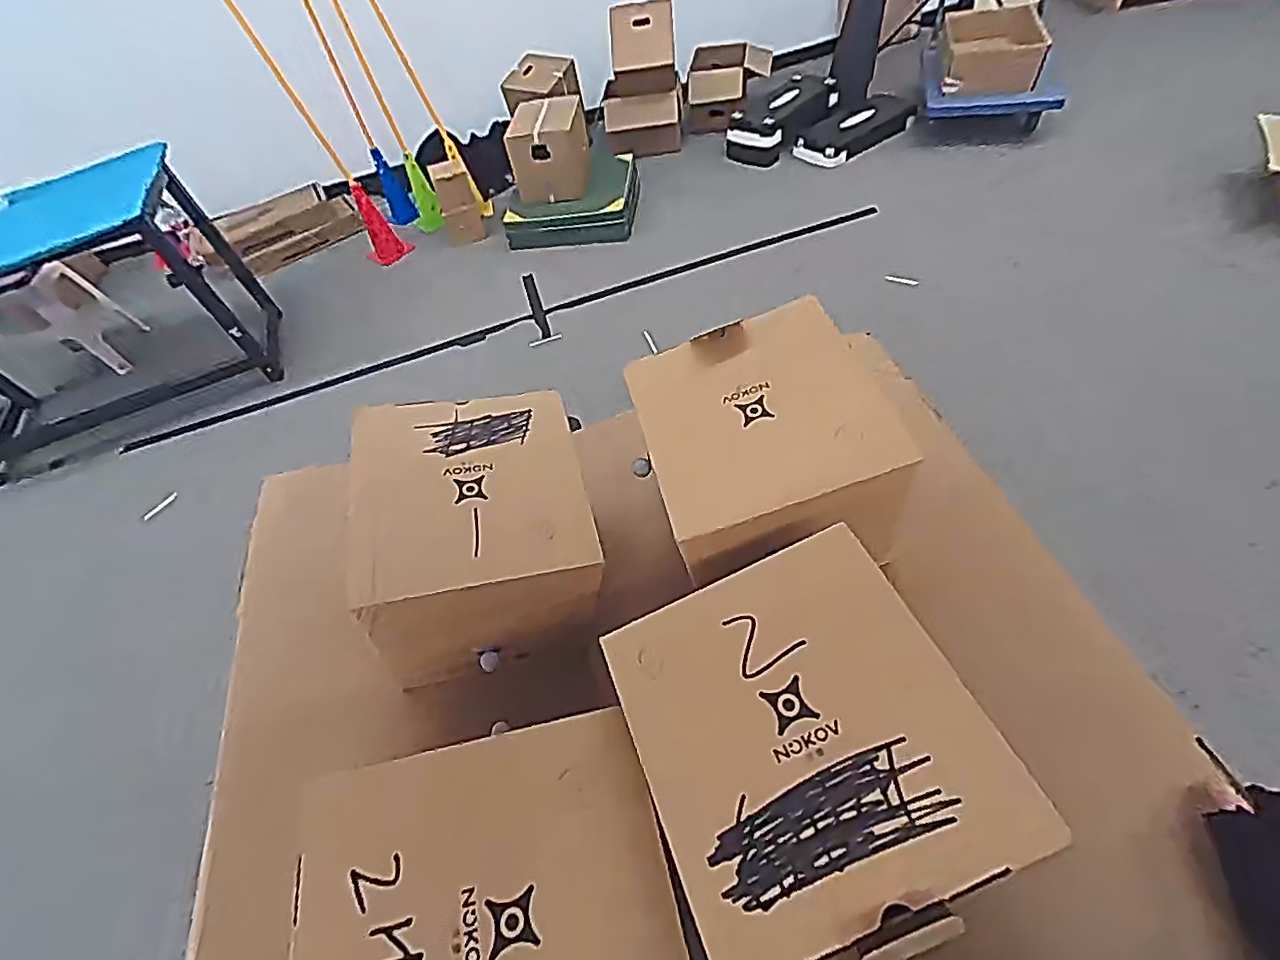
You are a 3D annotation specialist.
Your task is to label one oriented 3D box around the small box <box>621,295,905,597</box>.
[{"bbox_3d":[0.099,-0.016,0.466,0.168,0.176,0.179,-20,53,4],"label":"small box"}]
